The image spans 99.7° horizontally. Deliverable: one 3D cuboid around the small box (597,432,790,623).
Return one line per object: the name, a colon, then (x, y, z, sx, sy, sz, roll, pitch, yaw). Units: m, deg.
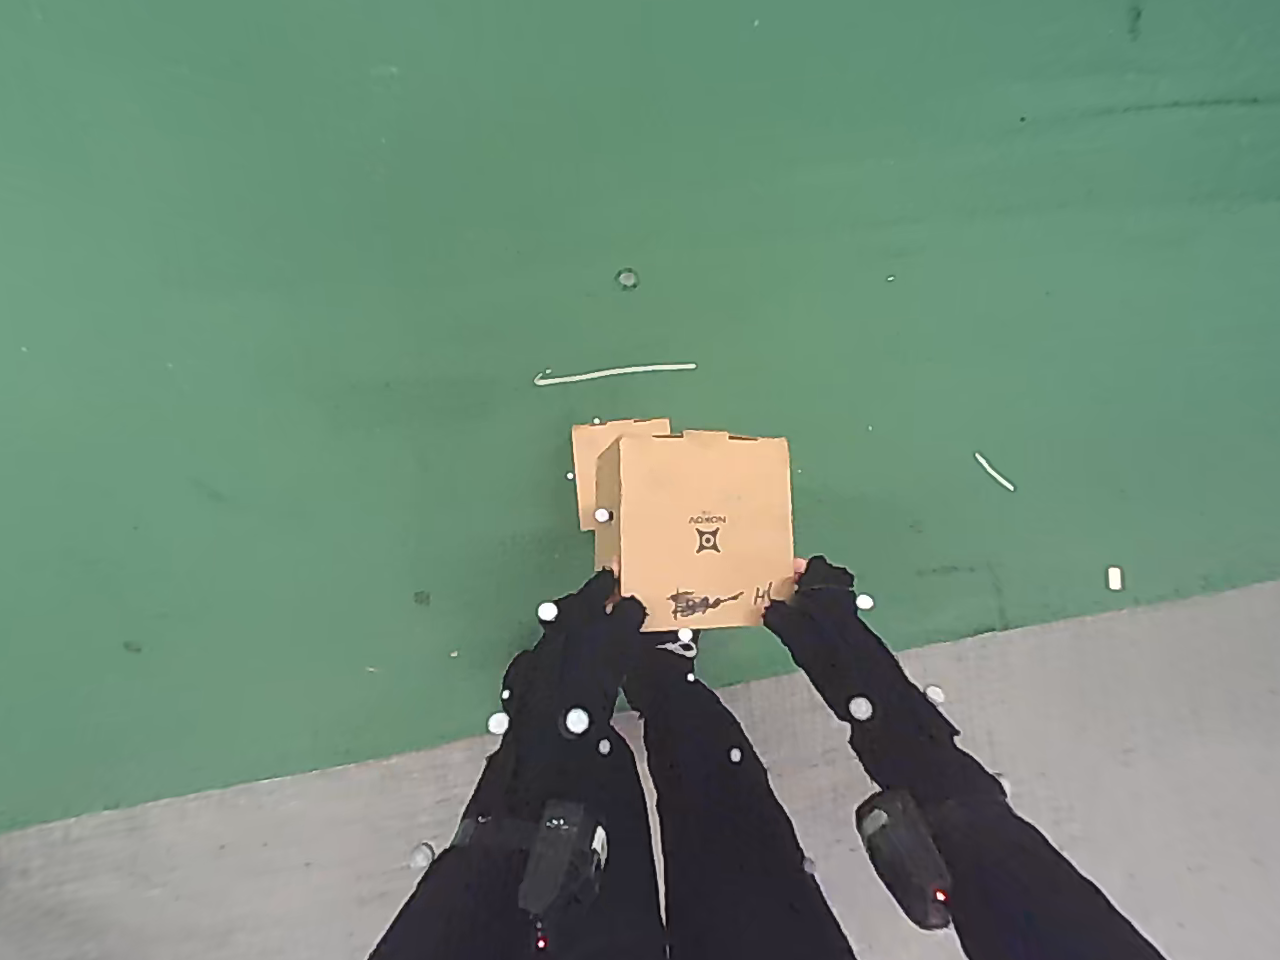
small box: (0.045, 0.053, 0.582, 0.168, 0.176, 0.179, 1, 84, -12)

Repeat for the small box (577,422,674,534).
small box: (-0.026, -0.005, 0.978, 0.168, 0.176, 0.179, -6, 92, -5)
